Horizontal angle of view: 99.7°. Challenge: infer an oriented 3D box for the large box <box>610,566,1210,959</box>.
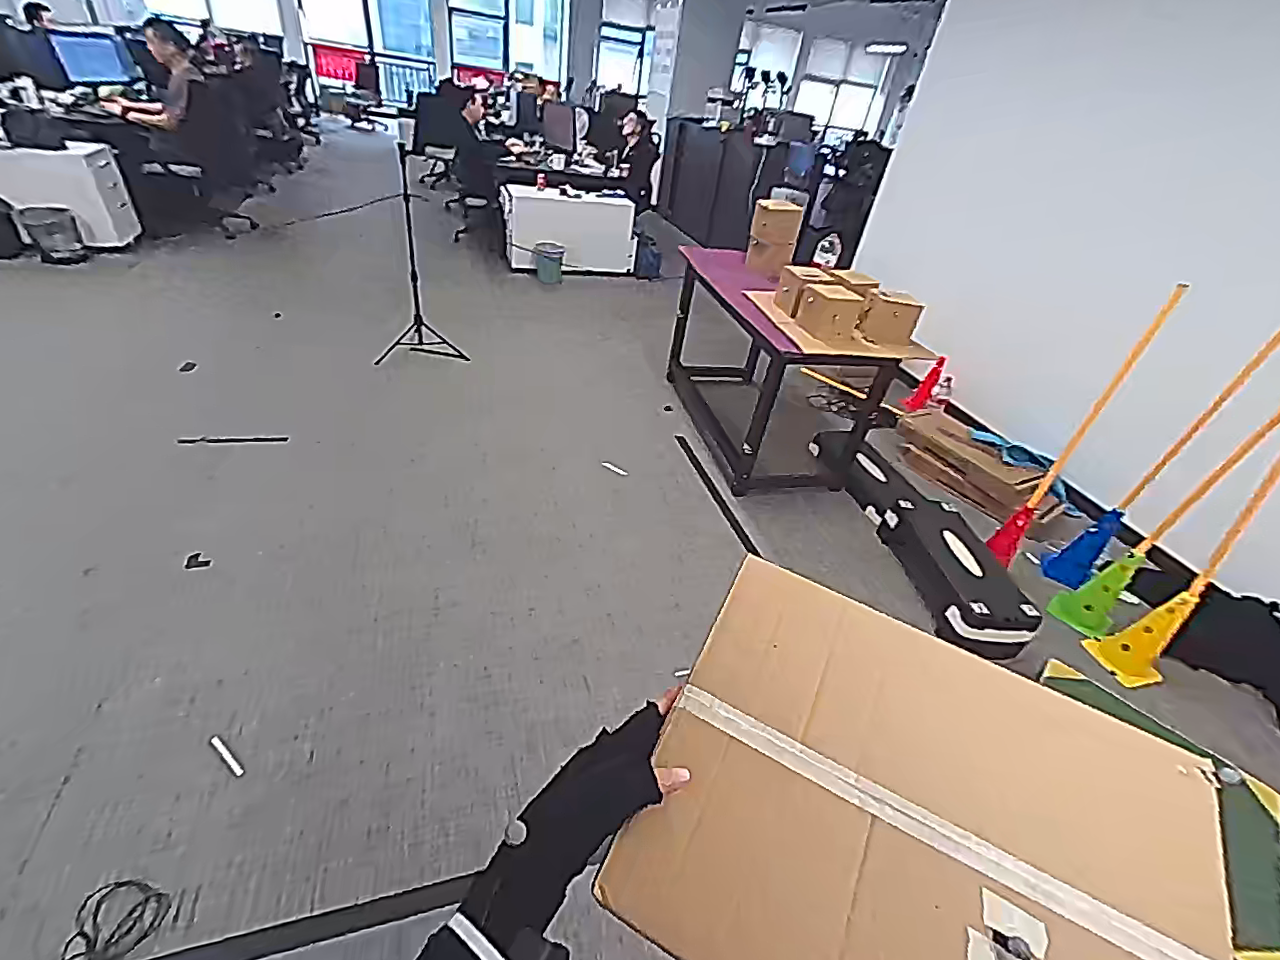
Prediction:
[{"bbox_3d":[0.214,0.355,0.546,0.408,0.320,0.320,24,58,15],"label":"large box"}]
